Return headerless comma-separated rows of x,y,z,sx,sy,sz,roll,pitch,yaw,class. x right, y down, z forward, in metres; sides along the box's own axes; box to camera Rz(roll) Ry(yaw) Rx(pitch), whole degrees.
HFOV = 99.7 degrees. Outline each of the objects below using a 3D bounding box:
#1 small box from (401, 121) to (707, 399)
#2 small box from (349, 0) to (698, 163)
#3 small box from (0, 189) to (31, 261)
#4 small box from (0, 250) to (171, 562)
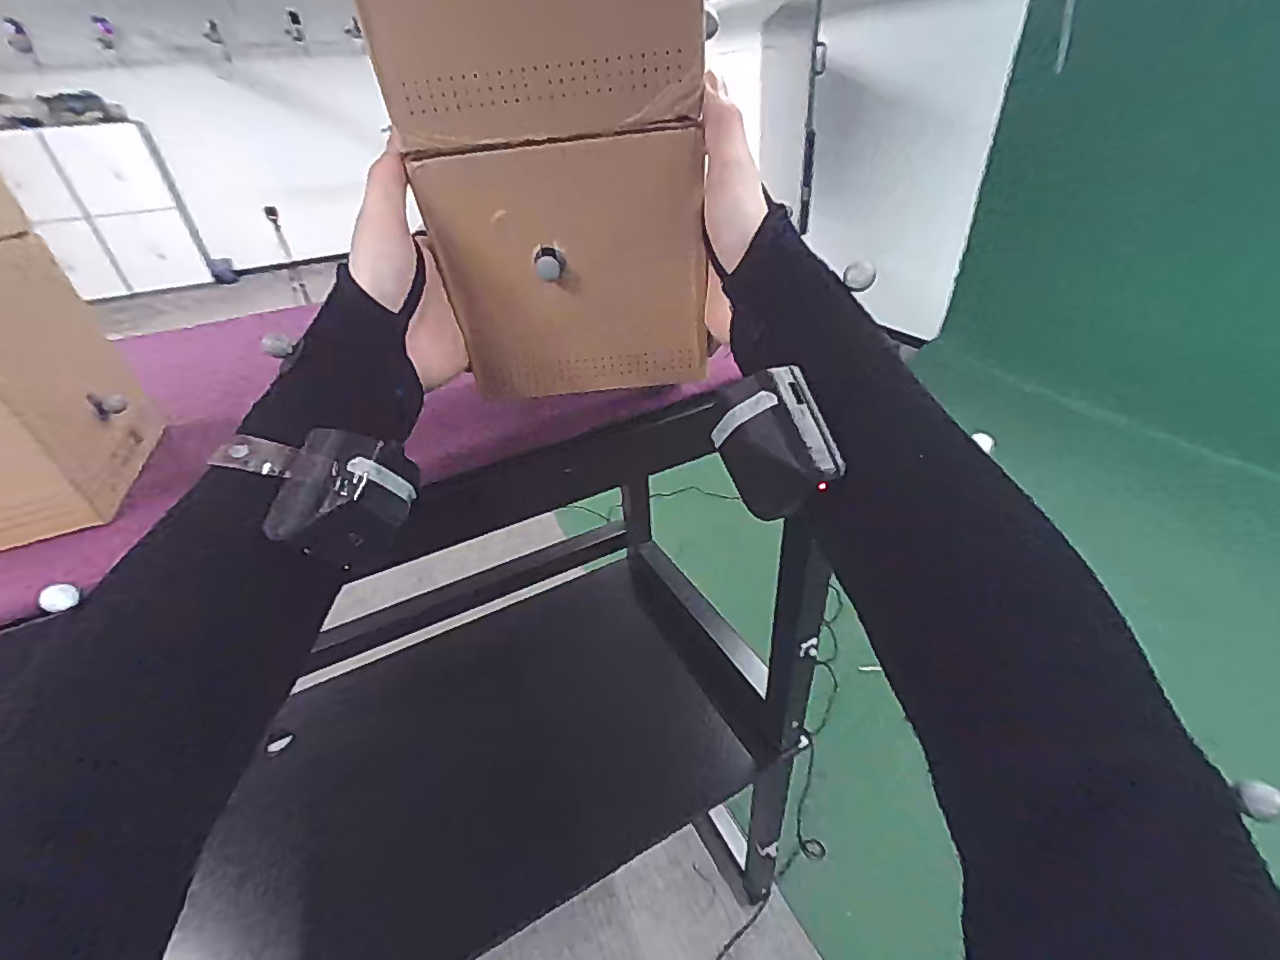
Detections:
-0.046,-0.177,0.421,0.179,0.176,0.168,-6,41,4,small box
-0.065,-0.299,0.315,0.179,0.176,0.168,-7,42,2,small box
-0.497,-0.176,0.273,0.179,0.176,0.168,-20,36,-17,small box
-0.482,-0.041,0.366,0.179,0.176,0.168,-19,37,-18,small box
